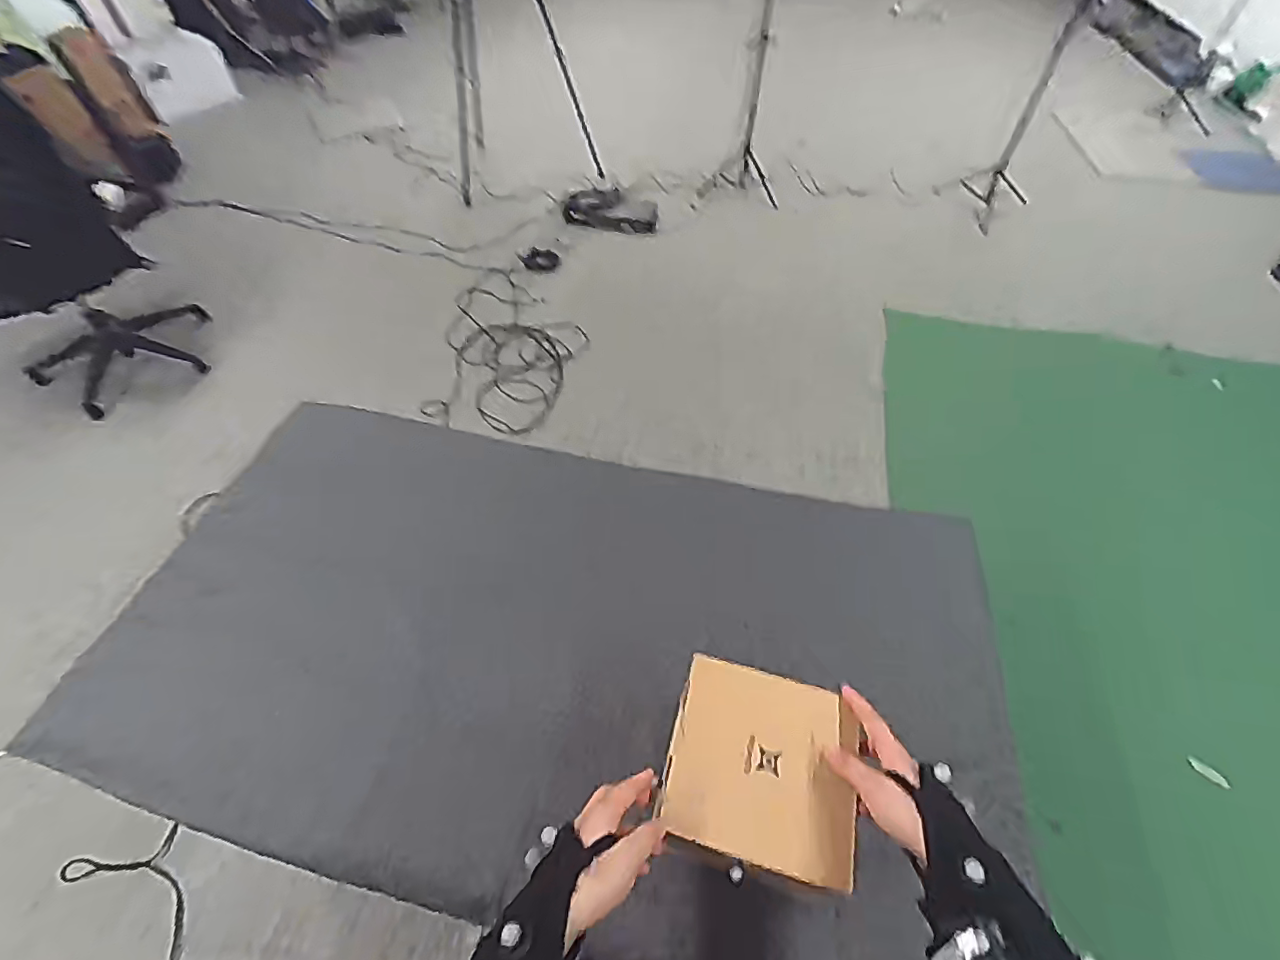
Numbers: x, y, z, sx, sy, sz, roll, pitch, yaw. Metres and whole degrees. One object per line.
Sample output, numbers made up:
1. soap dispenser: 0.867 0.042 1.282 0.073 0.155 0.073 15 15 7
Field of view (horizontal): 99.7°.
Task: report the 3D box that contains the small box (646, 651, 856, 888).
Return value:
1. small box: 0.110 0.309 0.572 0.179 0.176 0.168 14 54 8
